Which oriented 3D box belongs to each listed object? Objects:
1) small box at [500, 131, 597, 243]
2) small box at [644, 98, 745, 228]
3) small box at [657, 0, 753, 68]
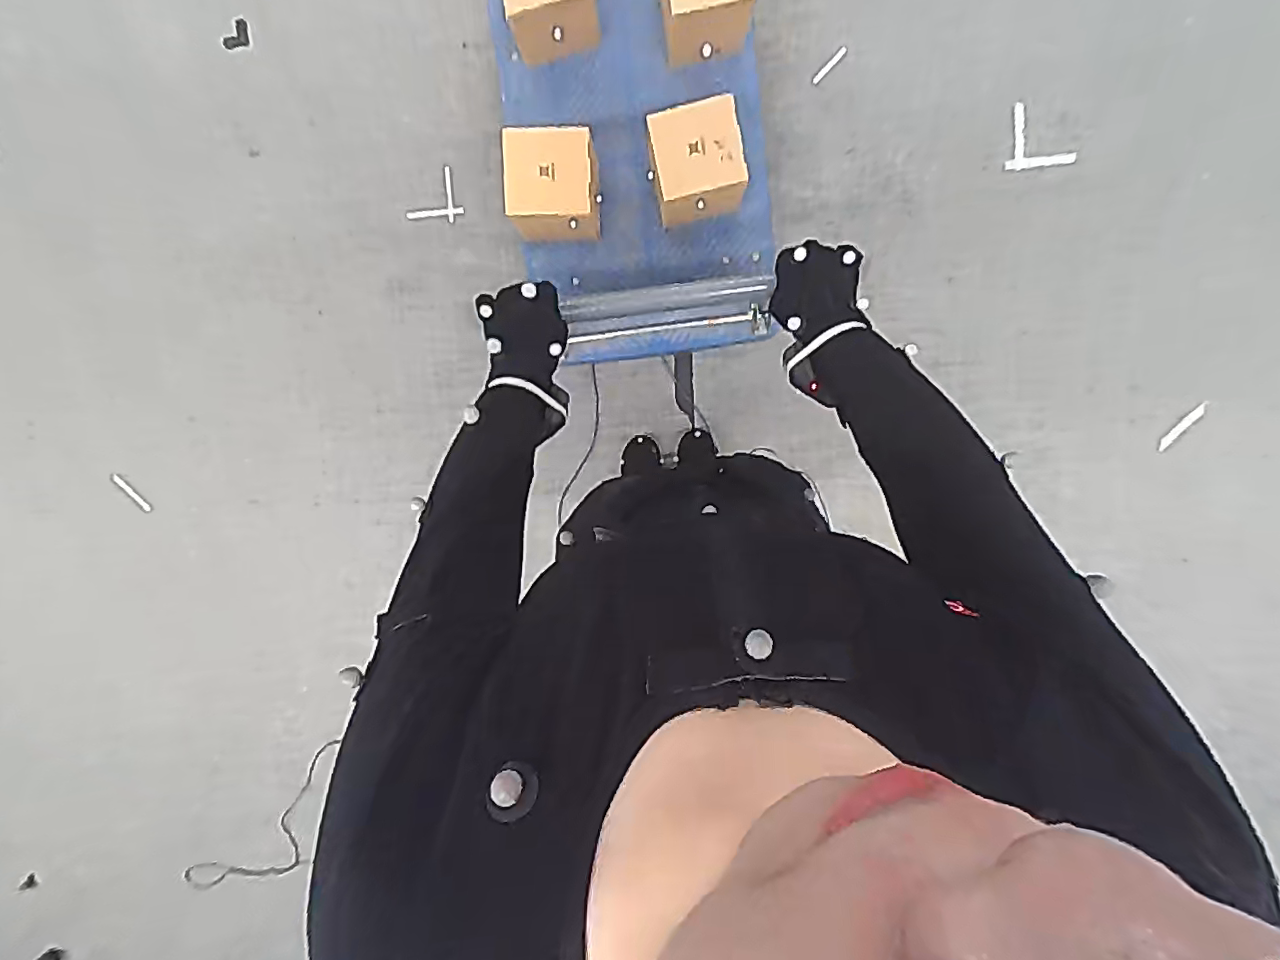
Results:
[{"bbox_3d":[-0.189,-0.619,1.160,0.179,0.176,0.168,-1,97,1],"label":"small box"},{"bbox_3d":[0.112,-0.657,1.143,0.179,0.176,0.168,-12,97,4],"label":"small box"},{"bbox_3d":[0.124,-0.993,1.099,0.168,0.176,0.179,-10,98,4],"label":"small box"}]
